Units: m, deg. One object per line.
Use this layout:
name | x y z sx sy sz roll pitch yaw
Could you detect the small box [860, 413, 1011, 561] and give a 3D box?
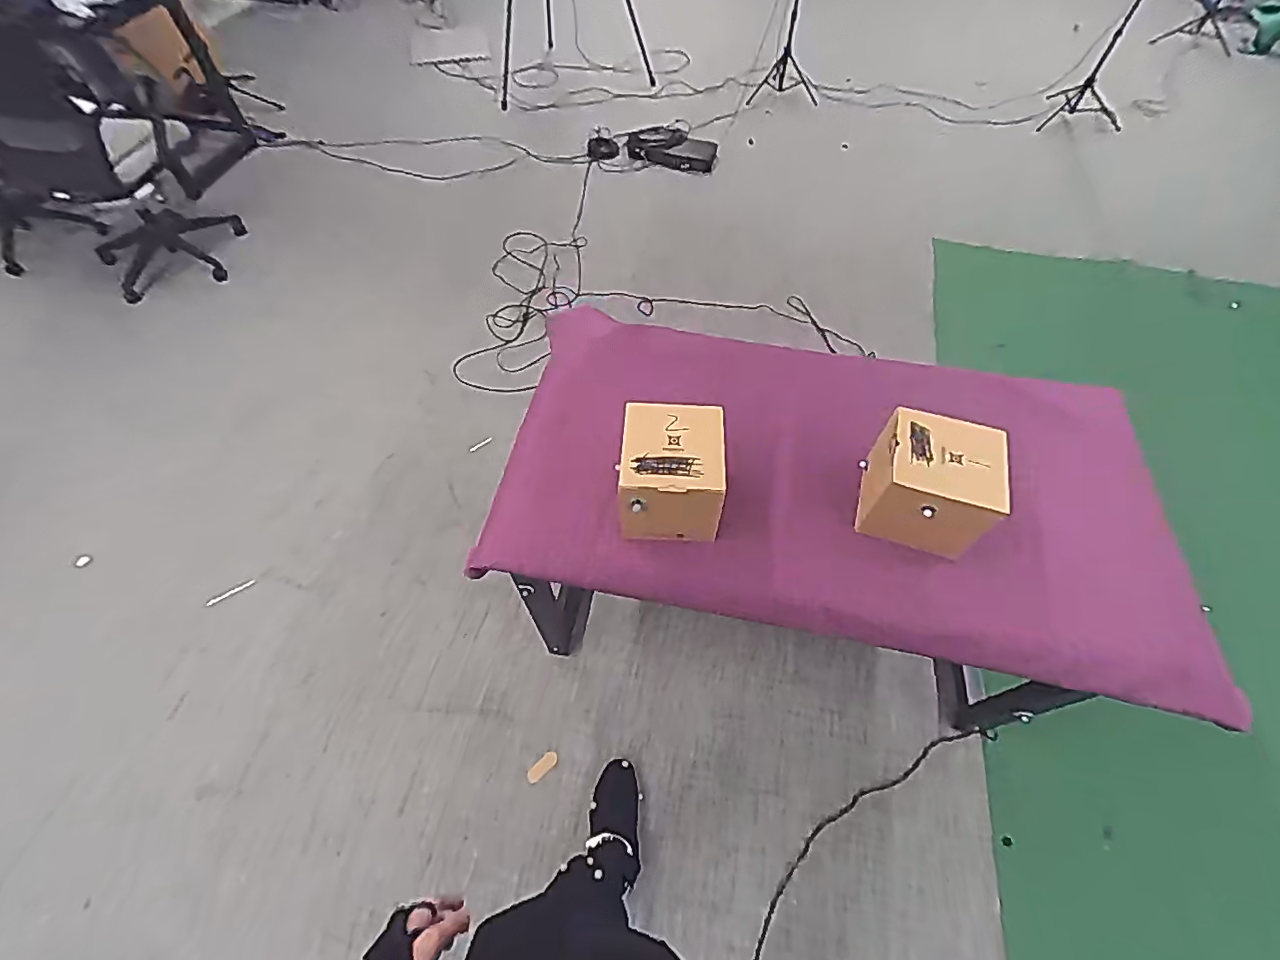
small box | 0.494 0.017 0.923 0.179 0.176 0.168 16 58 10
